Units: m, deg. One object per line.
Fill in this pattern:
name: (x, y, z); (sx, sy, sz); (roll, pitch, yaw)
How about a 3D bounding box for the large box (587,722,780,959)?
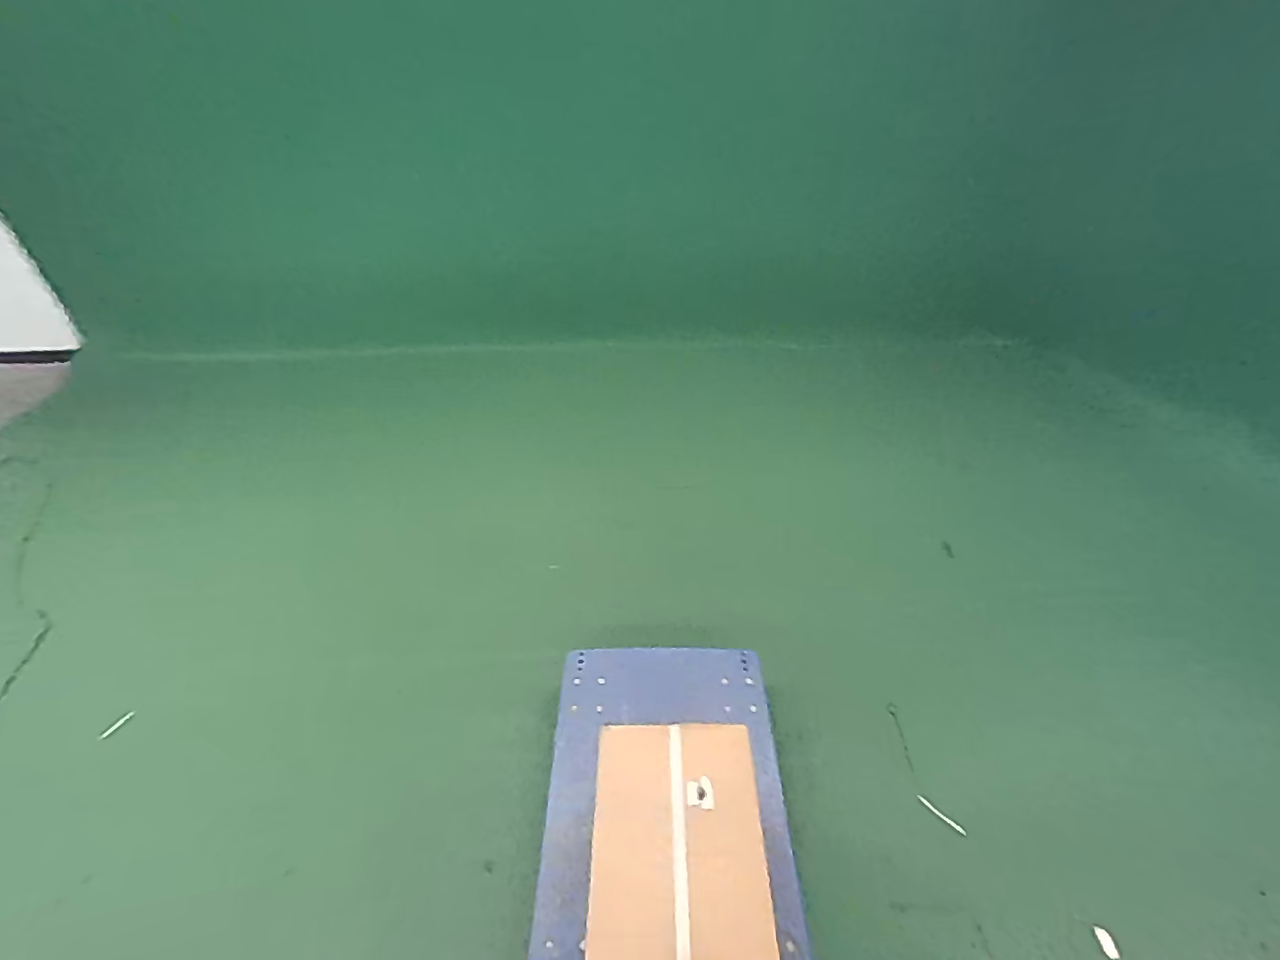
large box: (0.075, 0.760, 1.095); (0.320, 0.320, 0.408); (0, 40, 1)
